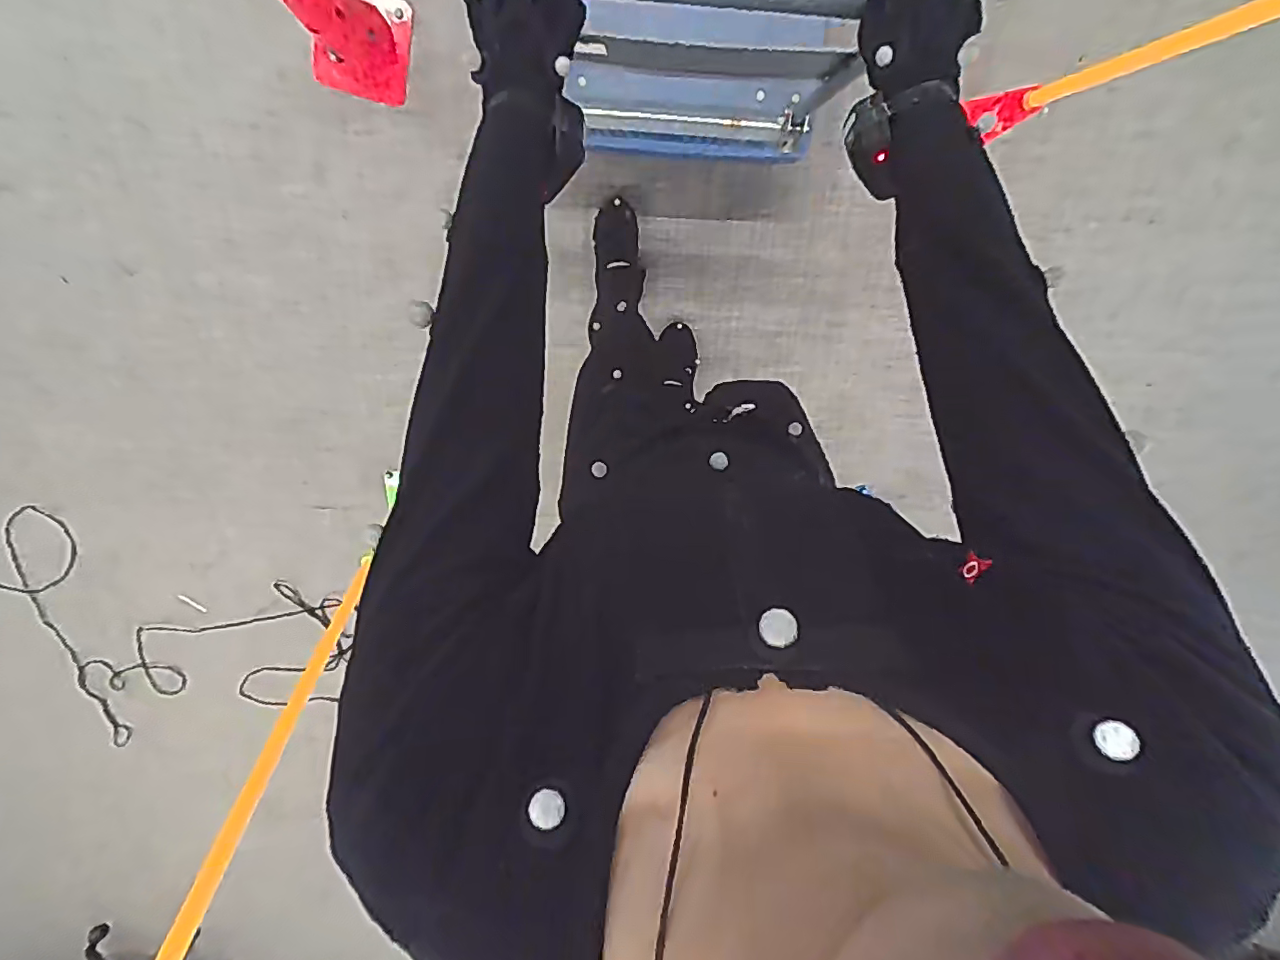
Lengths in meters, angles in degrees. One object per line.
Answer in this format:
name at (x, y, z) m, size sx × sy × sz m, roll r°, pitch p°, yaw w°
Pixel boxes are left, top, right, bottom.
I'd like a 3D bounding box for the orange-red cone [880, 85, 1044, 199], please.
orange-red cone at (0.675, -0.715, 1.090) m, size 0.198 × 0.360 × 0.199 m, roll 13°, pitch 110°, yaw -5°
